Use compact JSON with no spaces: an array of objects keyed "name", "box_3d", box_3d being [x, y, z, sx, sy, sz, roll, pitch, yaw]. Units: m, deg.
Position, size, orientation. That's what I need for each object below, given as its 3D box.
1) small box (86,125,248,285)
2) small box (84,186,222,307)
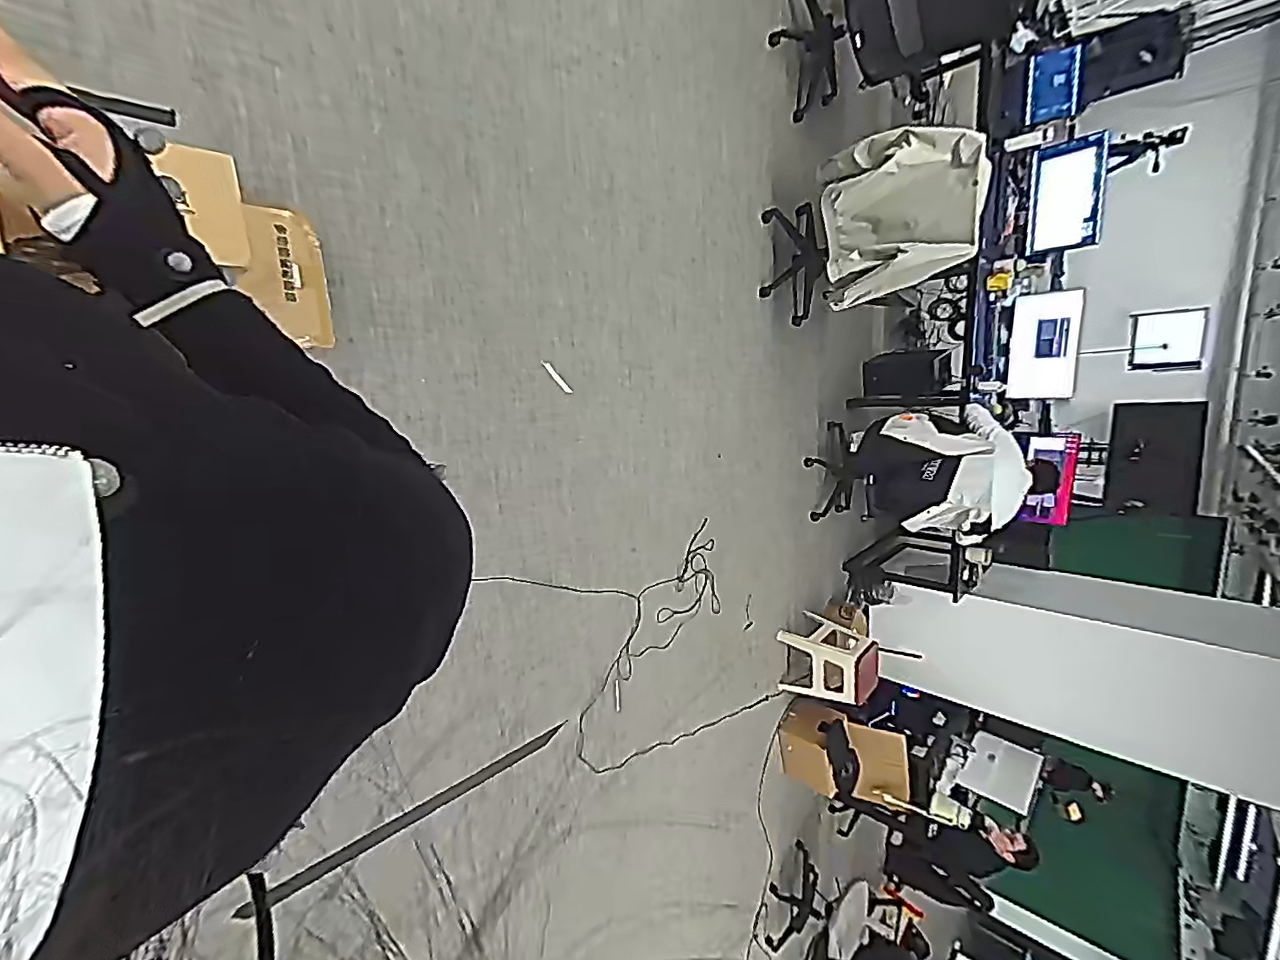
[{"name":"small box","box_3d":[-0.765,-0.428,0.875,0.168,0.176,0.179,-13,104,-45]},{"name":"small box","box_3d":[-0.888,-0.425,0.986,0.168,0.176,0.179,-7,101,-46]}]
